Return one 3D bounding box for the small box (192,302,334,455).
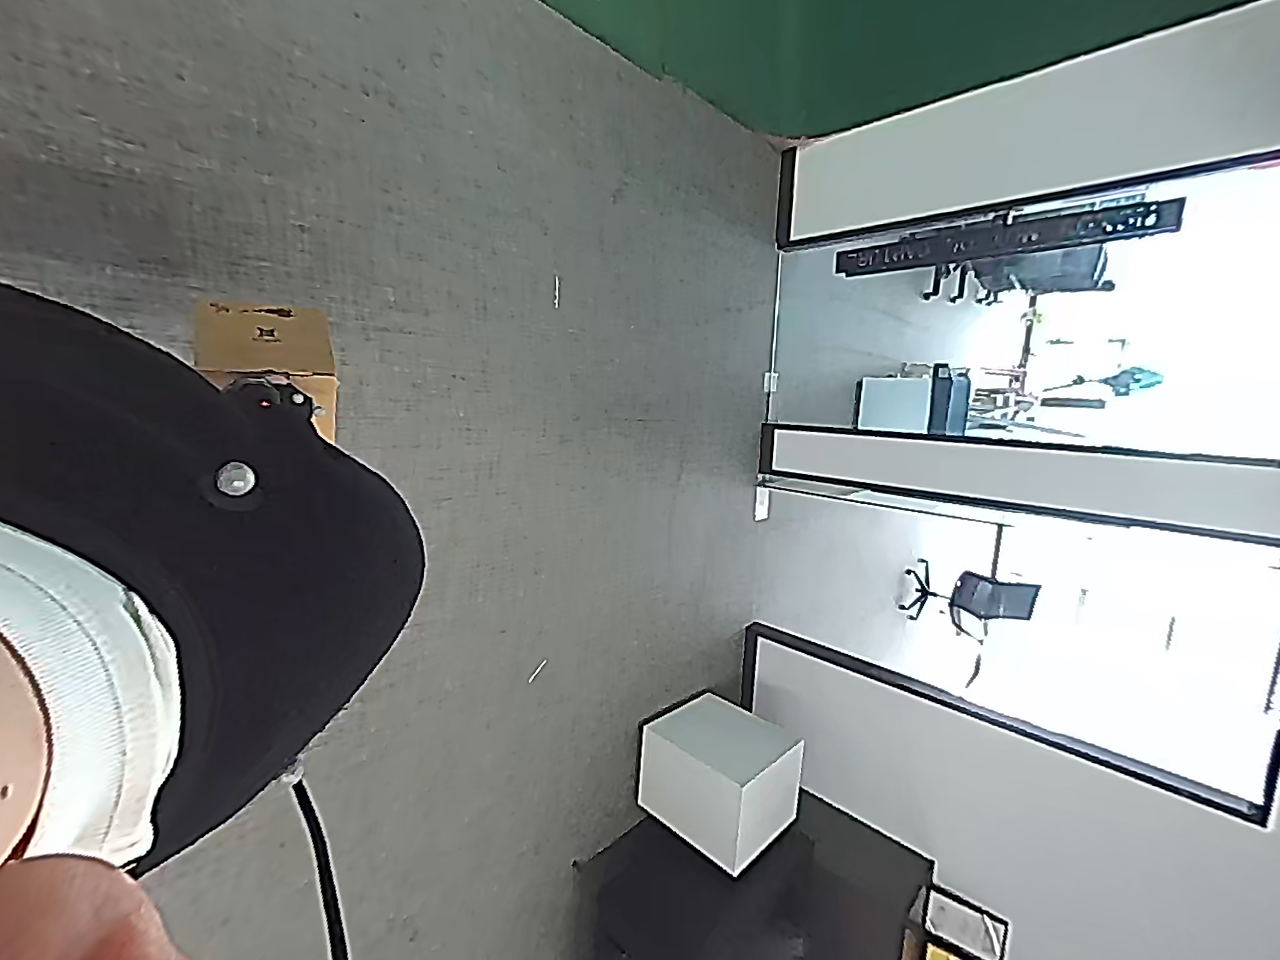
[{"bbox_3d":[-0.583,-0.151,0.846,0.168,0.179,0.176,-6,140,-36],"label":"small box"}]
